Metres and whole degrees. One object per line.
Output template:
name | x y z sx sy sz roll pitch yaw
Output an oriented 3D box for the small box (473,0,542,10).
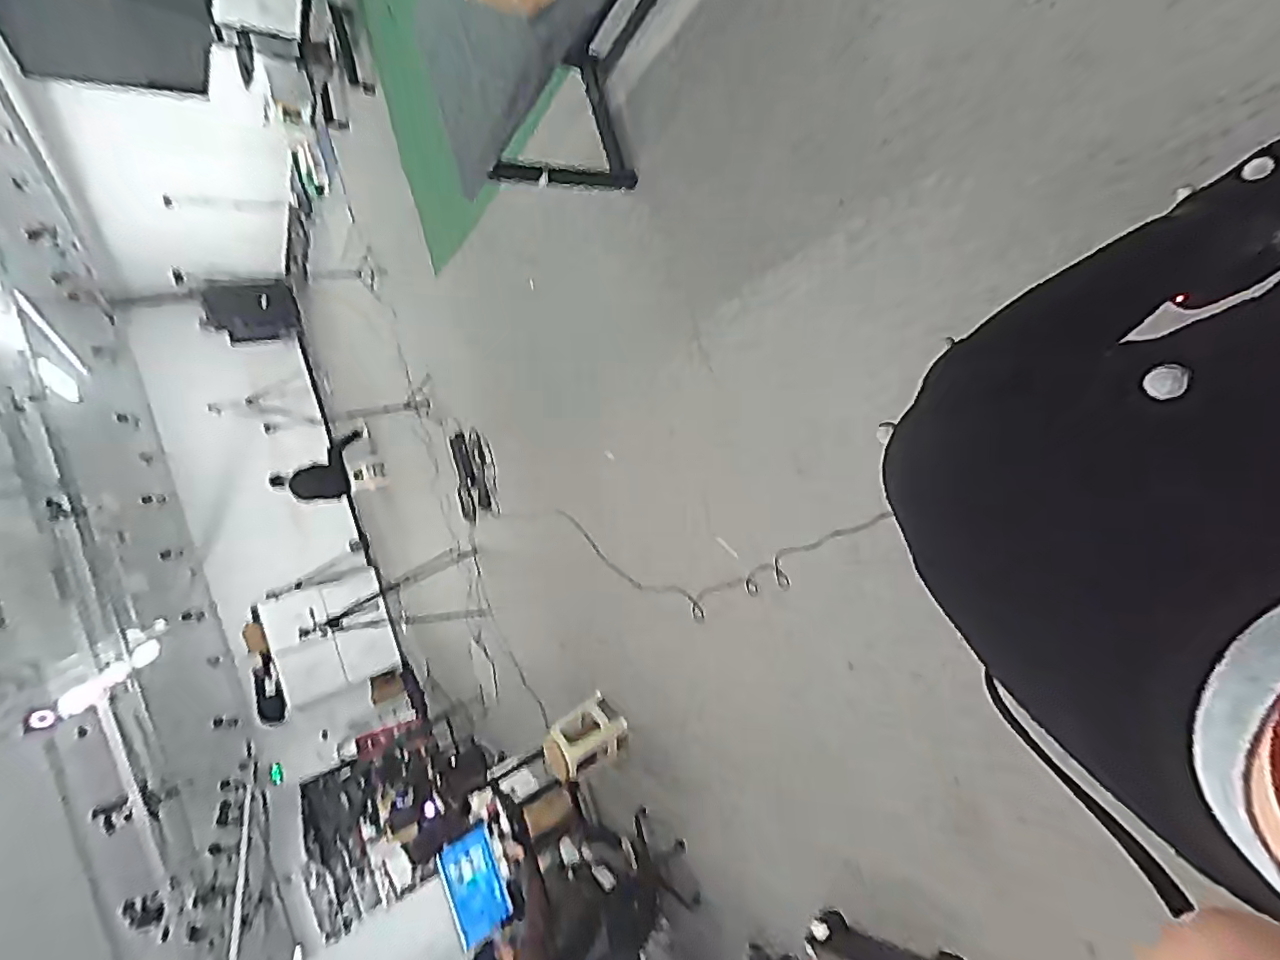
small box | -0.302 -1.211 1.230 0.168 0.176 0.179 23 121 45
